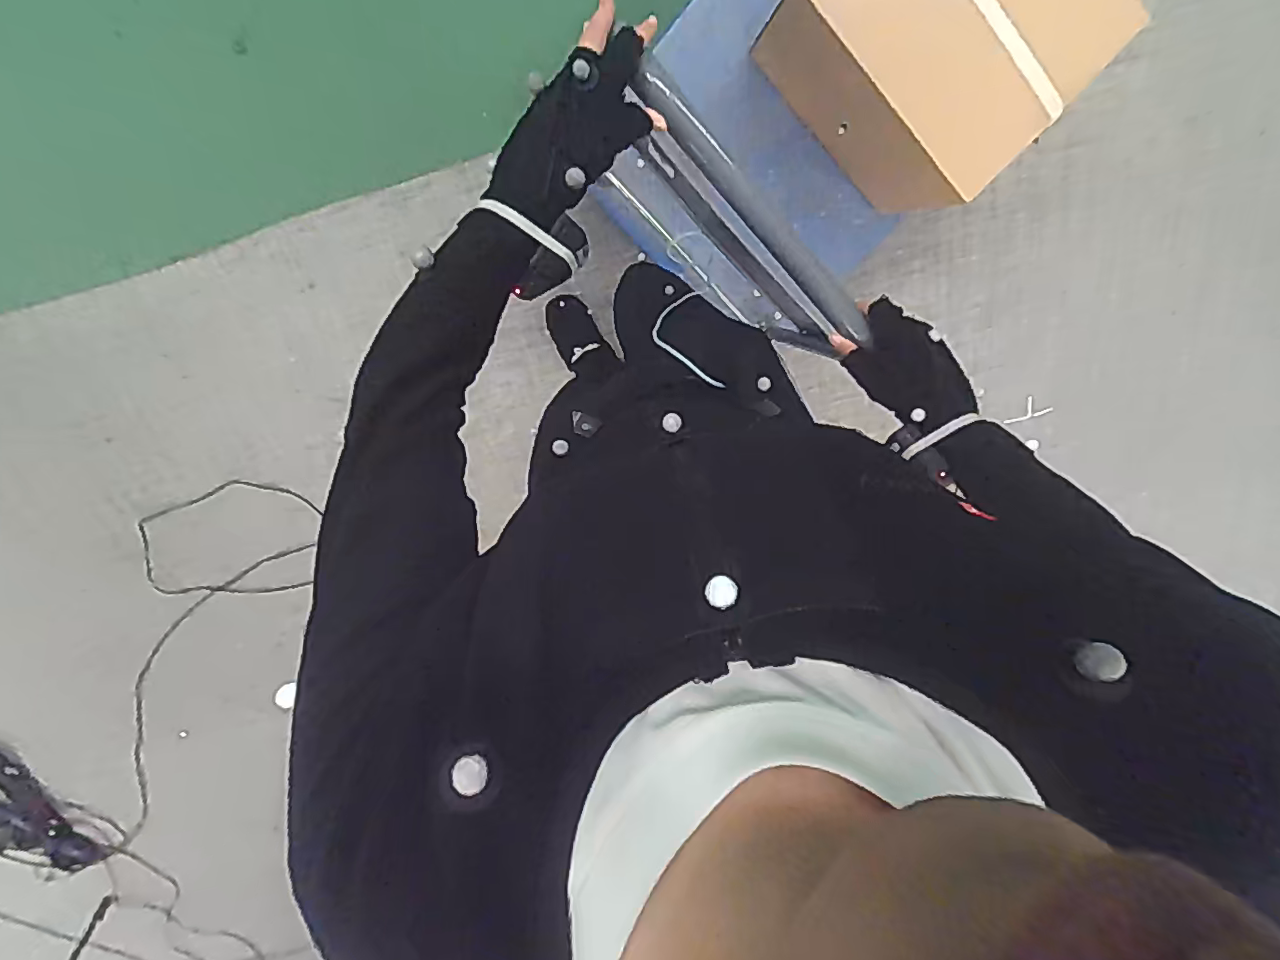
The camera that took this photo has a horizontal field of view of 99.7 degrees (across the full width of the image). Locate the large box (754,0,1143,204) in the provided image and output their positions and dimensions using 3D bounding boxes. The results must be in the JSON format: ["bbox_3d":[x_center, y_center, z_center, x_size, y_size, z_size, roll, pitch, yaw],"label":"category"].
[{"bbox_3d":[0.457,-0.726,0.884,0.408,0.320,0.320,39,106,-16],"label":"large box"}]
